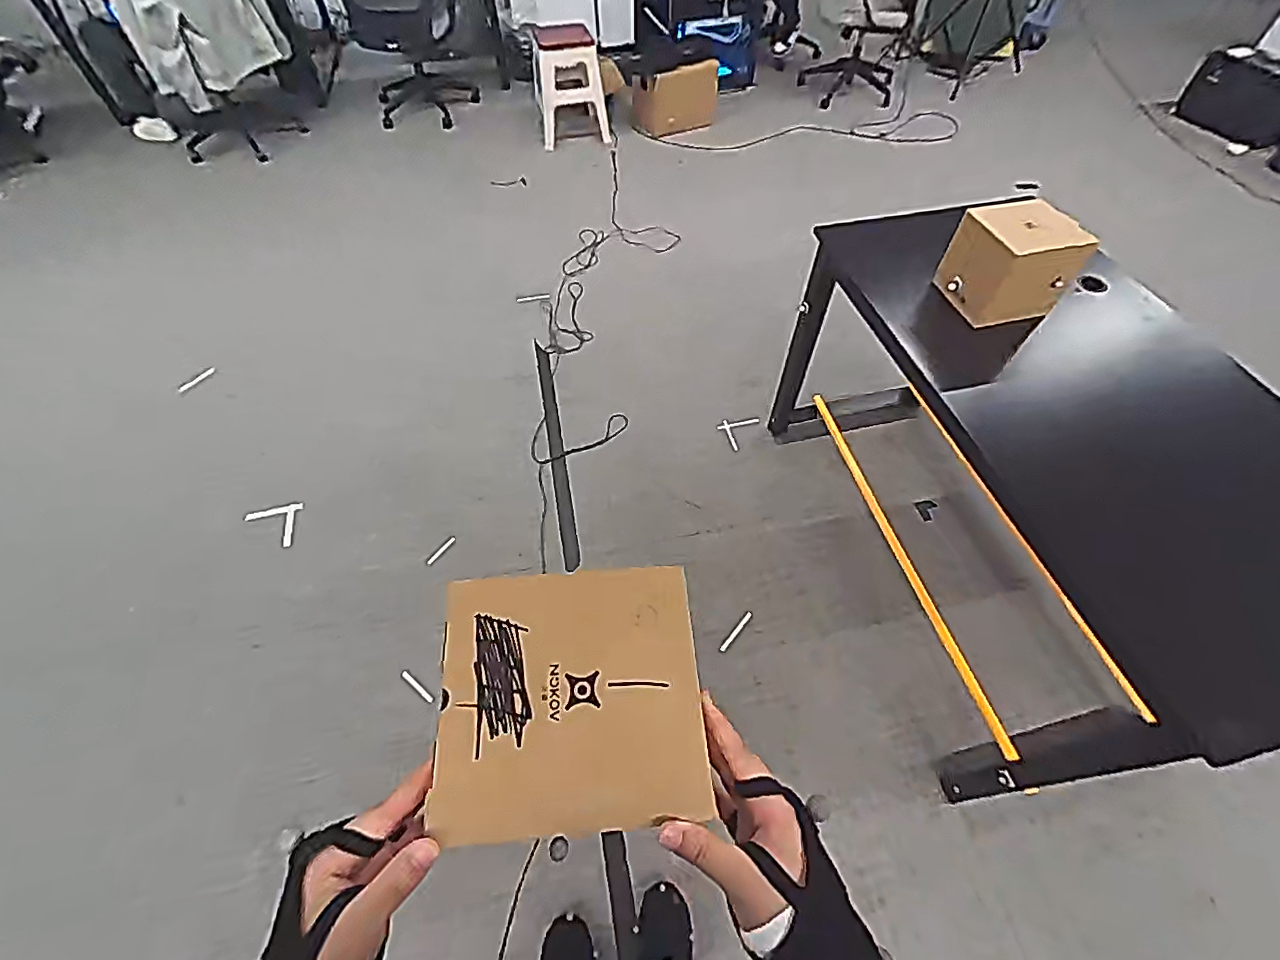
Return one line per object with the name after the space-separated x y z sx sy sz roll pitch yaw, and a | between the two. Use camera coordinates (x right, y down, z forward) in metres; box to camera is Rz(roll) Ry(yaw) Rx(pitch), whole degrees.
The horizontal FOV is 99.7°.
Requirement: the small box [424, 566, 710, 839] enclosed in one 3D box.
-0.051 0.181 0.433 0.179 0.176 0.168 -3 59 -5 | small box

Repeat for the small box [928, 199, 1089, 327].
0.734 -0.438 1.101 0.179 0.176 0.168 -13 55 -7 | small box
